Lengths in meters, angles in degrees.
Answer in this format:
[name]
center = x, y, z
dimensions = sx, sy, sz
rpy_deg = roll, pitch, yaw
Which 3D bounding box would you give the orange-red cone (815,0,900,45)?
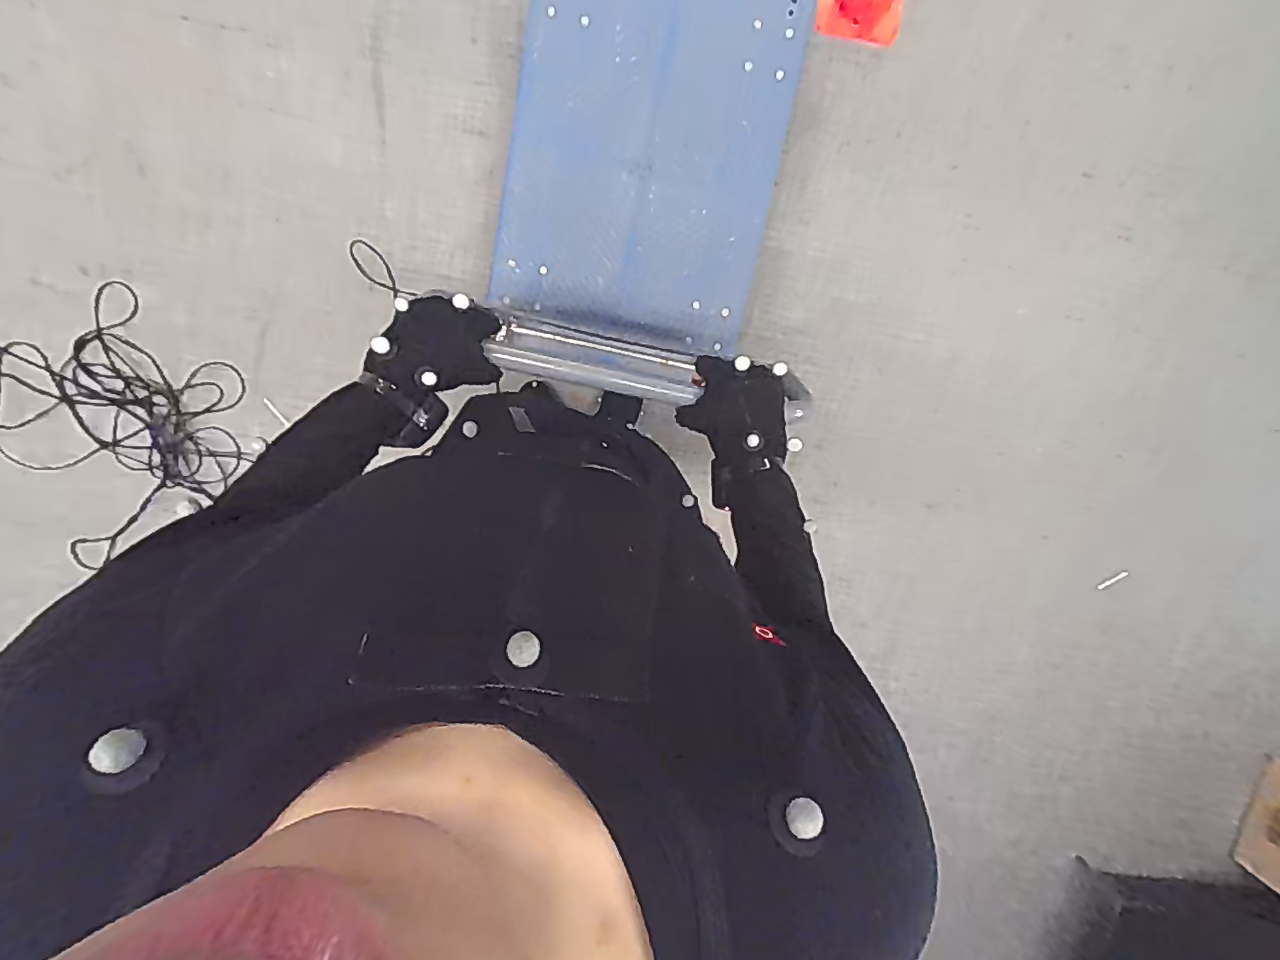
[orange-red cone]
center = 0.537, -1.135, 1.129
dimensions = 0.199, 0.360, 0.198
rpy_deg = 9, 100, -4
